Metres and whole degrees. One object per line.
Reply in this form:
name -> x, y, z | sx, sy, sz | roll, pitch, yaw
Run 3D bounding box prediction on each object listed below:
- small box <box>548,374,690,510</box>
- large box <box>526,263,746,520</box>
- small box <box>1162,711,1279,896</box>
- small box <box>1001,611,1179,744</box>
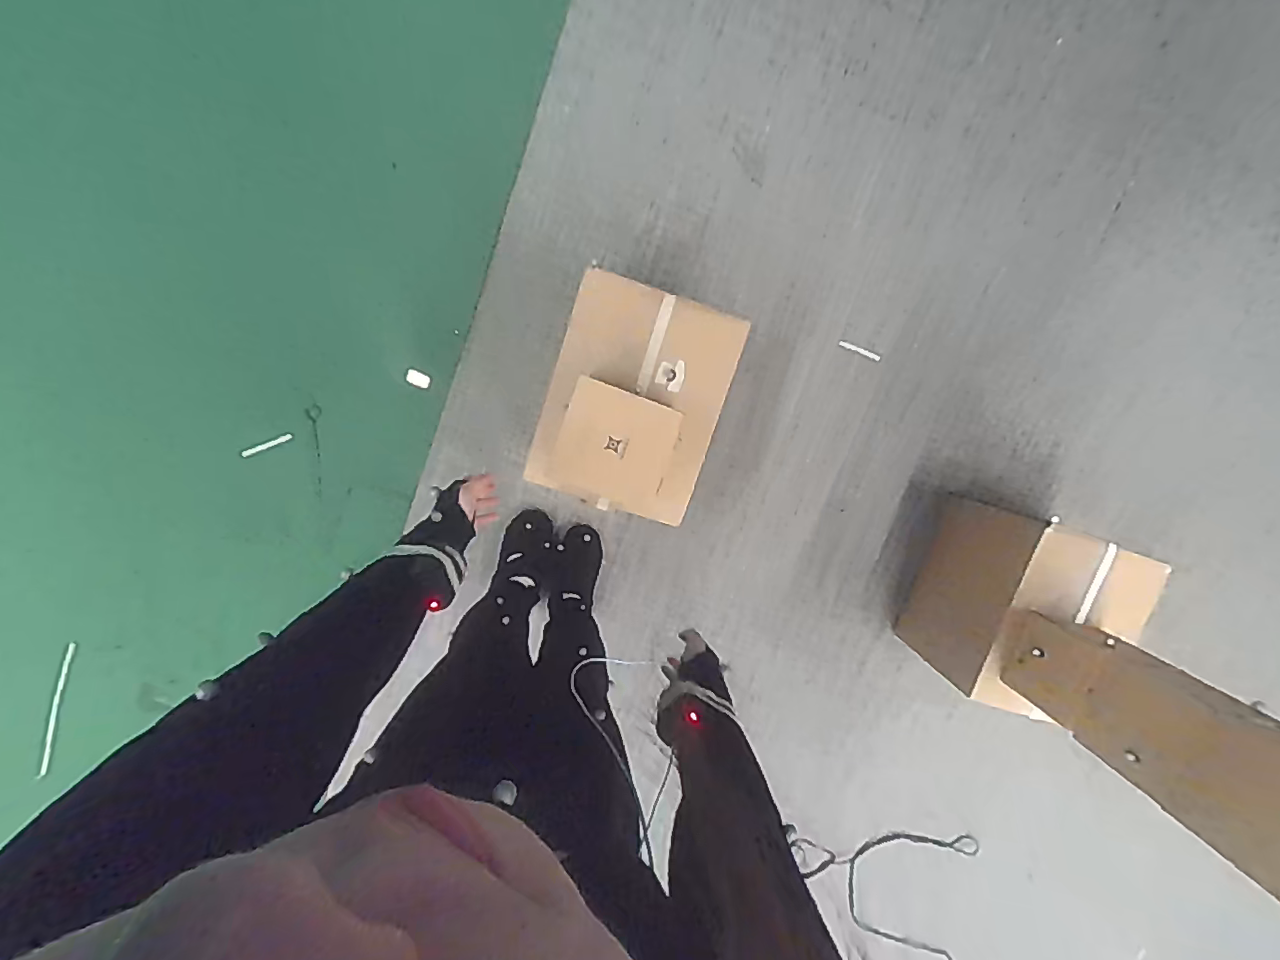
small box -> -0.036, -0.070, 0.900 | 0.179, 0.176, 0.168 | 21, 97, -6
large box -> -0.019, -0.174, 1.133 | 0.320, 0.320, 0.408 | 18, 98, -7
small box -> 0.893, 0.453, 0.741 | 0.168, 0.176, 0.179 | 20, 100, -7
small box -> 0.869, 0.378, 1.061 | 0.179, 0.176, 0.168 | 16, 99, -6
